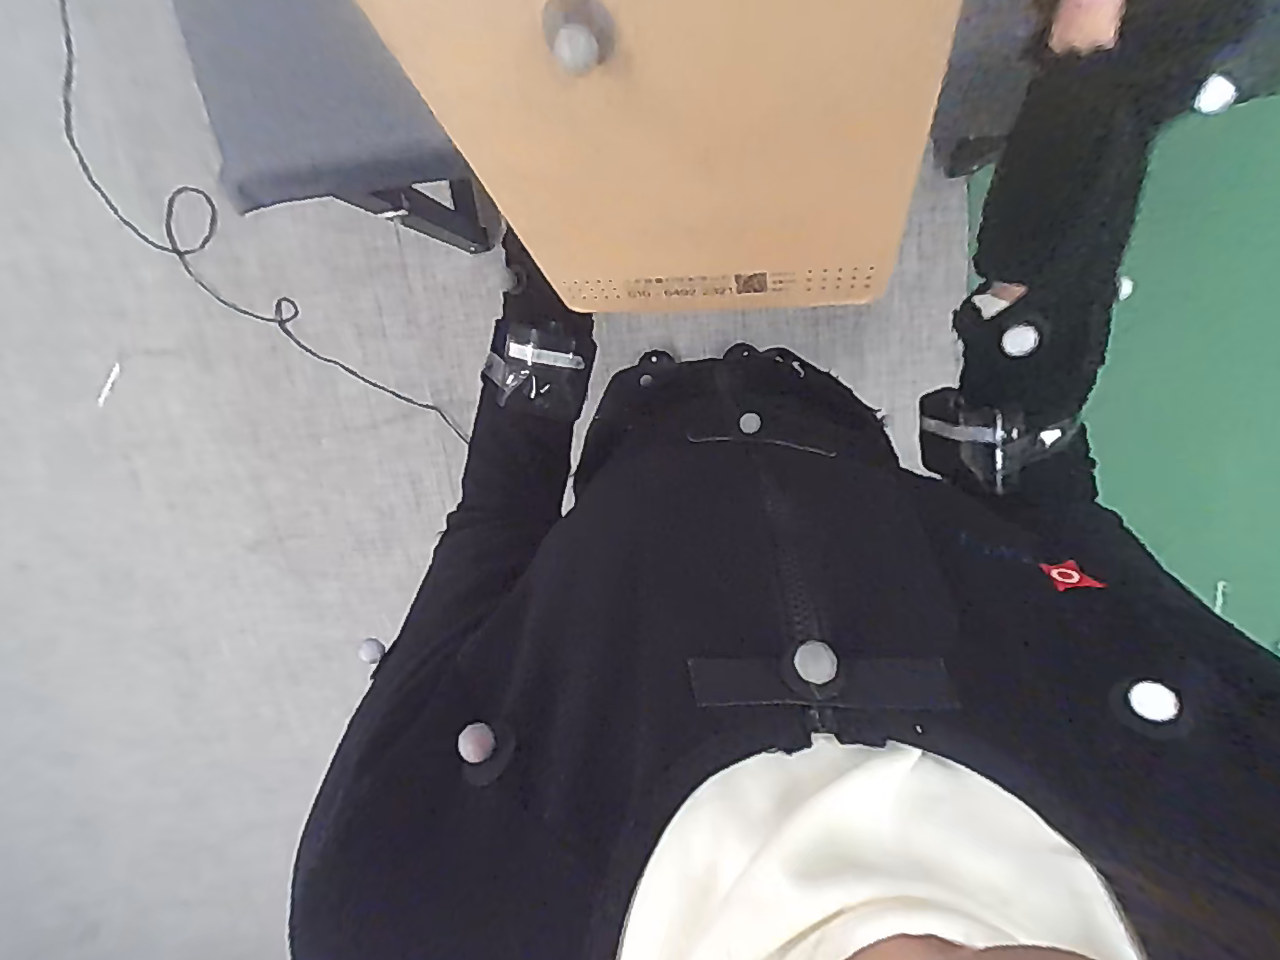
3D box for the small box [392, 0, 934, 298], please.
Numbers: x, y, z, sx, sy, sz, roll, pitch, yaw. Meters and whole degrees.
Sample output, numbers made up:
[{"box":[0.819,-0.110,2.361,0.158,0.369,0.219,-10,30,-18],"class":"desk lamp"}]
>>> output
[{"box":[0.025,-0.202,0.229,0.168,0.176,0.179,4,74,18],"class":"small box"}]
